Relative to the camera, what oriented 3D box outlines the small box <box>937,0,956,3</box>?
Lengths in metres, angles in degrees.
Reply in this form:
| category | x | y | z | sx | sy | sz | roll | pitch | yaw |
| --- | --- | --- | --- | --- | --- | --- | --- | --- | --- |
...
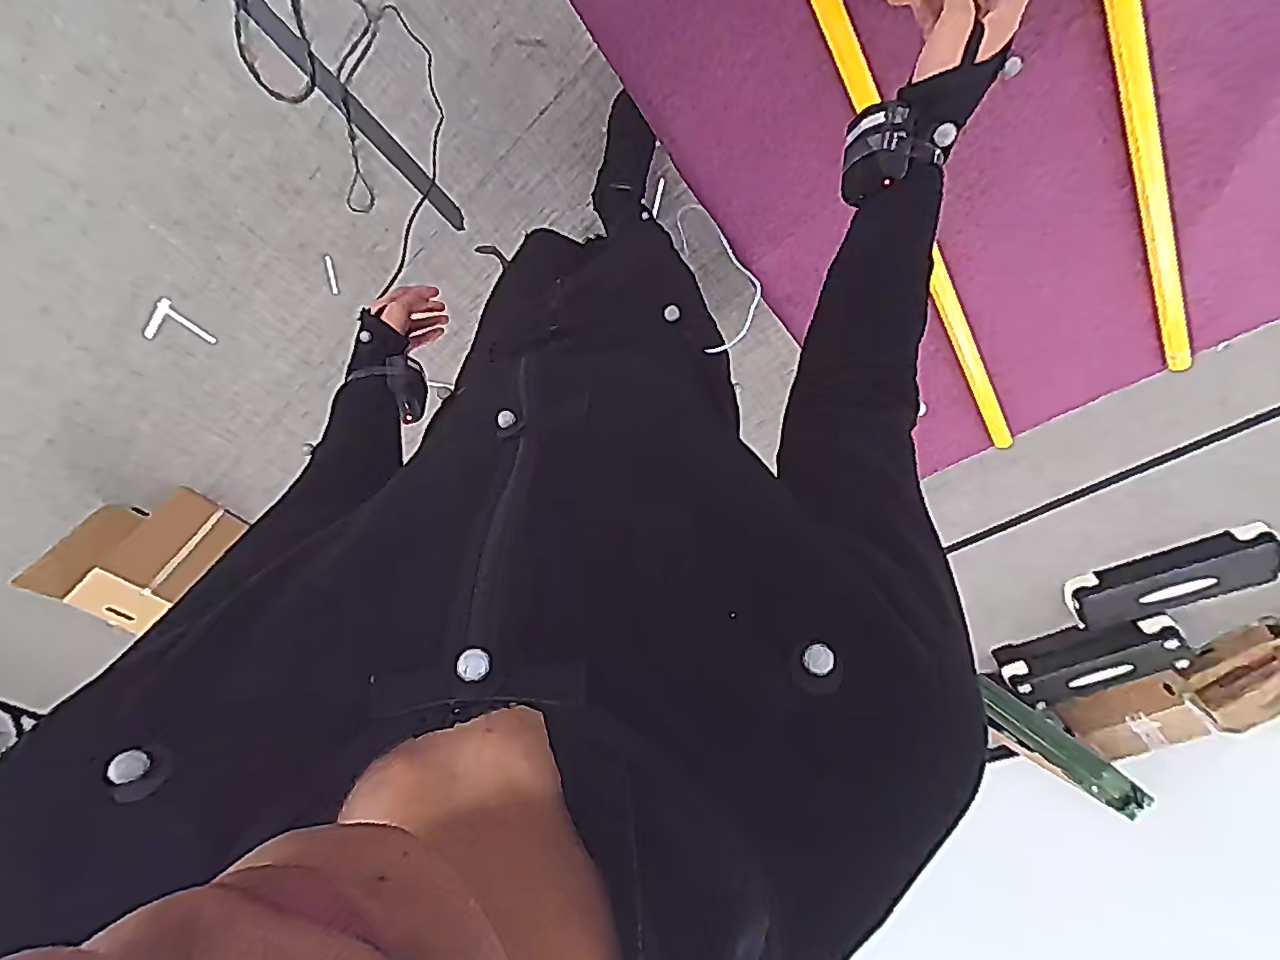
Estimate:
| category | x | y | z | sx | sy | sz | roll | pitch | yaw |
| --- | --- | --- | --- | --- | --- | --- | --- | --- | --- |
| small box | 0.245 | -0.519 | 0.408 | 0.179 | 0.176 | 0.168 | 35 | 124 | -26 |
